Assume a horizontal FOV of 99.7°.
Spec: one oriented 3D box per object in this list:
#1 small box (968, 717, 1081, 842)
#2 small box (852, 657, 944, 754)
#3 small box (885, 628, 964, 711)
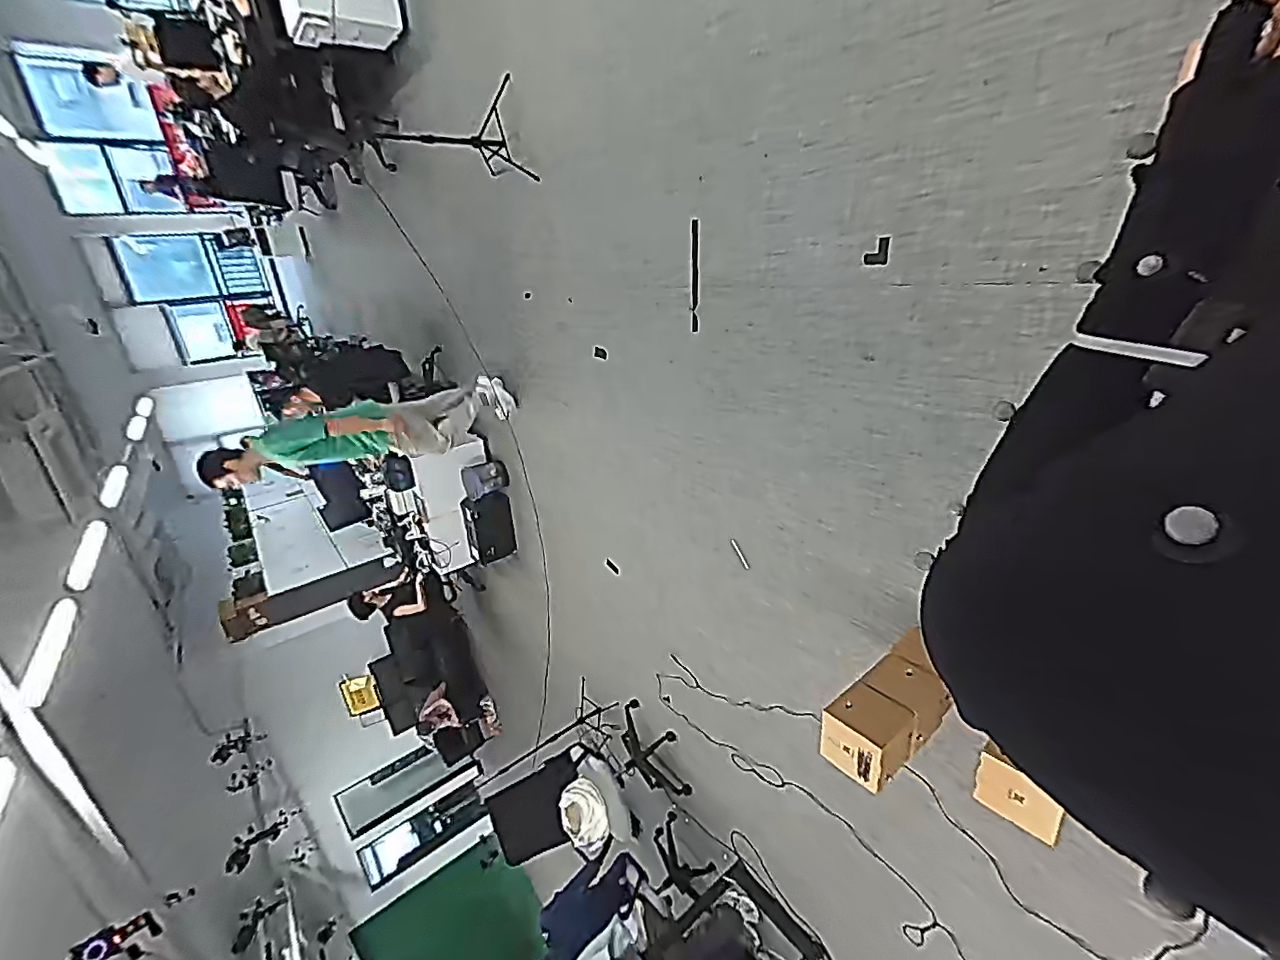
[{"bbox_3d":[0.952,0.729,1.340,0.179,0.176,0.168,21,124,48],"label":"small box"},{"bbox_3d":[0.749,0.645,1.577,0.179,0.176,0.168,22,125,49],"label":"small box"},{"bbox_3d":[0.874,0.593,1.671,0.168,0.176,0.179,21,124,48],"label":"small box"}]
